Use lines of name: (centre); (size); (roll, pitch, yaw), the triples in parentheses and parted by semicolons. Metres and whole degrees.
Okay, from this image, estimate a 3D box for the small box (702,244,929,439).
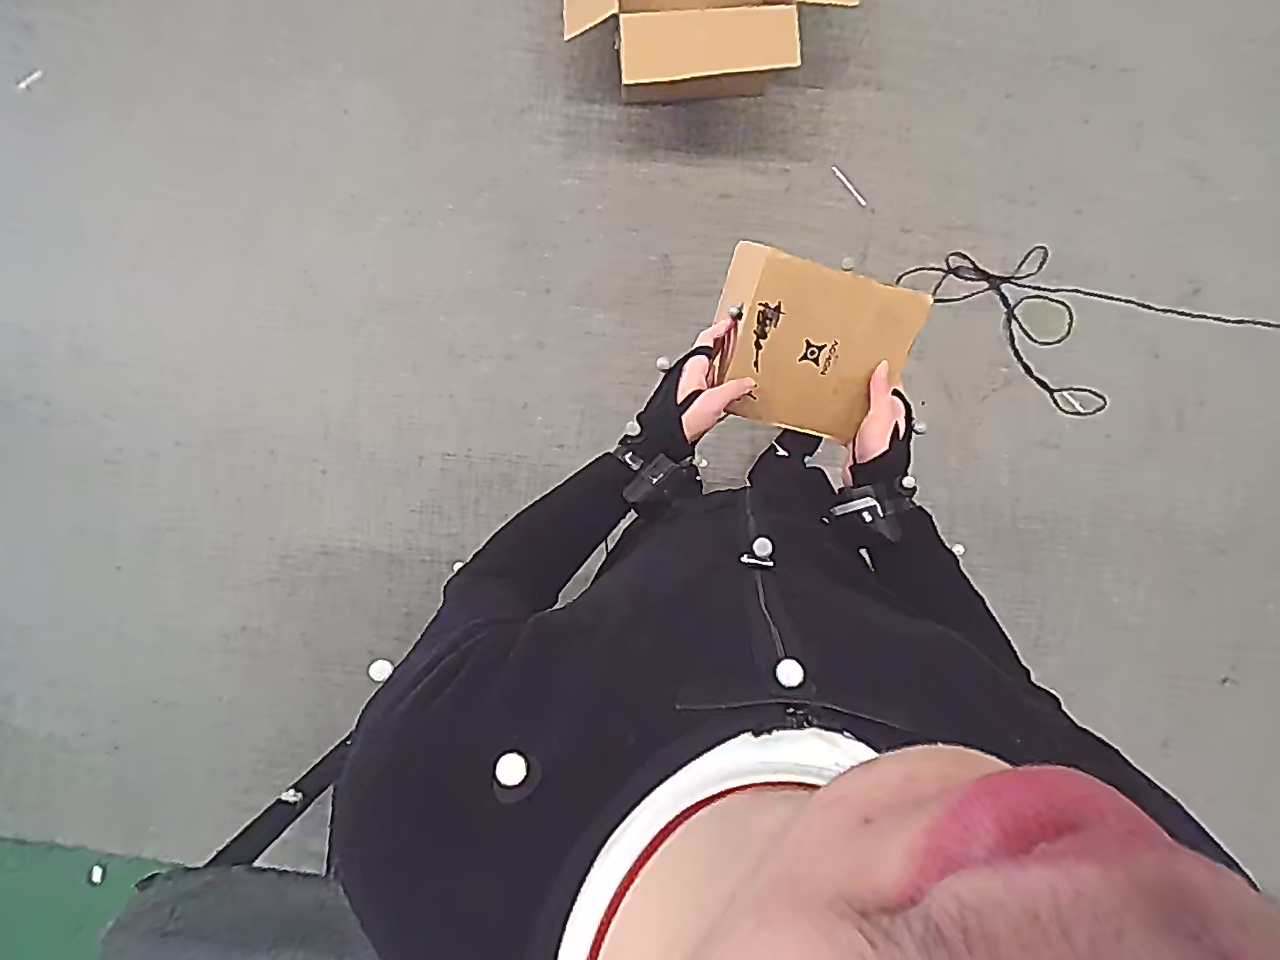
small box: (0.183, -0.168, 0.627); (0.179, 0.176, 0.168); (12, 115, -6)
